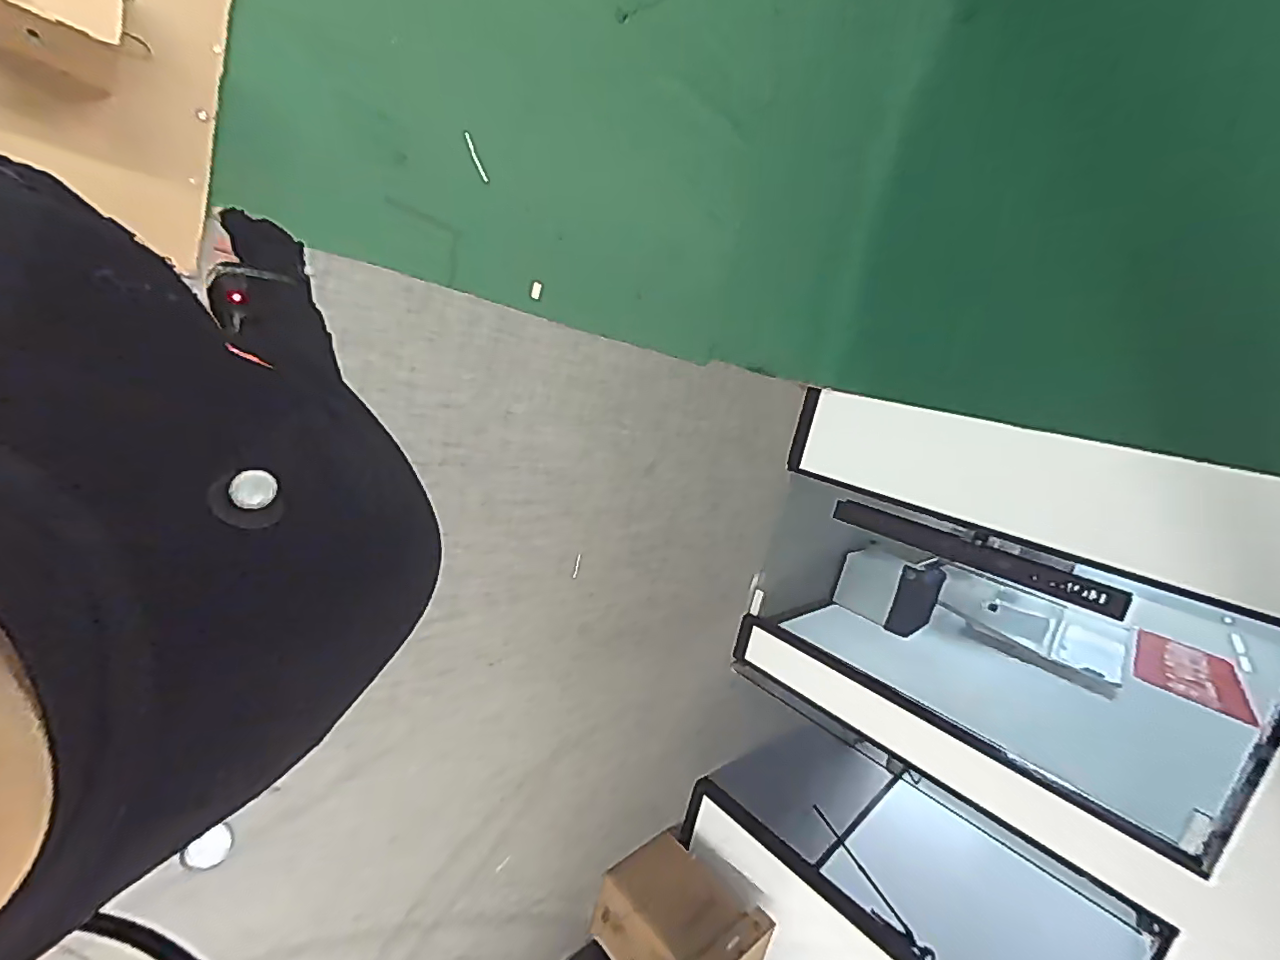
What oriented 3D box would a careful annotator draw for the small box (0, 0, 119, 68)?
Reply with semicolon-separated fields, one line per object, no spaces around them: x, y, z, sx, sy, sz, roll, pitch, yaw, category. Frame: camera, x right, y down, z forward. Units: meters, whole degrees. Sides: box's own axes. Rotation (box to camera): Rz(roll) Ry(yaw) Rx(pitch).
-0.800;-0.695;0.710;0.168;0.176;0.179;5;103;-47;small box
